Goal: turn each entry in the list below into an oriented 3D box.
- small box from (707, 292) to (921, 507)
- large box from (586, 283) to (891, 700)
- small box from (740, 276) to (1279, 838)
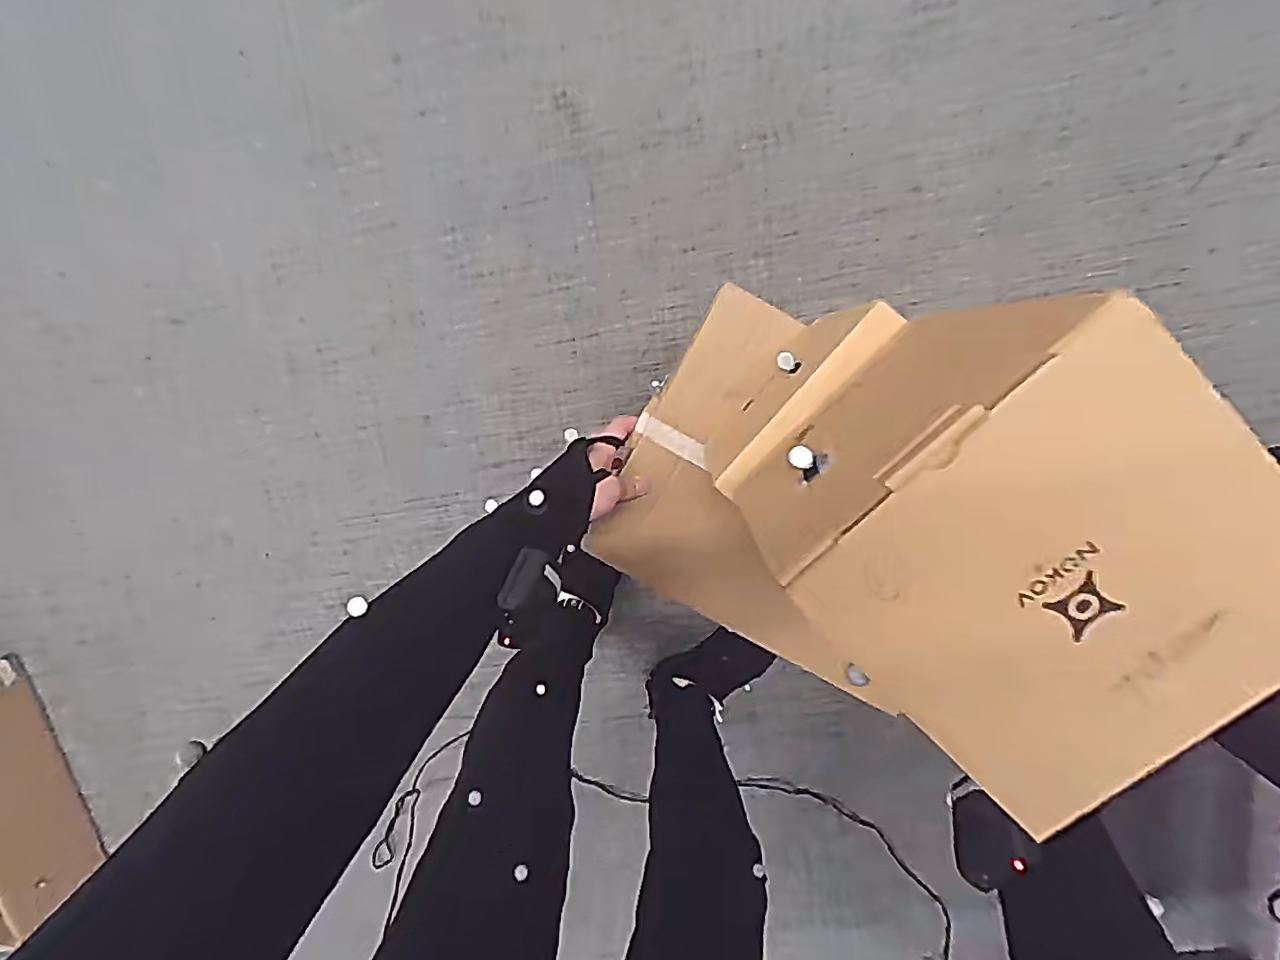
[{"bbox_3d":[0.171,-0.023,0.445,0.179,0.176,0.168,40,102,-6],"label":"small box"},{"bbox_3d":[0.191,-0.006,0.698,0.408,0.320,0.320,28,105,-4],"label":"large box"},{"bbox_3d":[0.173,0.025,0.288,0.168,0.176,0.179,-44,97,12],"label":"small box"}]
